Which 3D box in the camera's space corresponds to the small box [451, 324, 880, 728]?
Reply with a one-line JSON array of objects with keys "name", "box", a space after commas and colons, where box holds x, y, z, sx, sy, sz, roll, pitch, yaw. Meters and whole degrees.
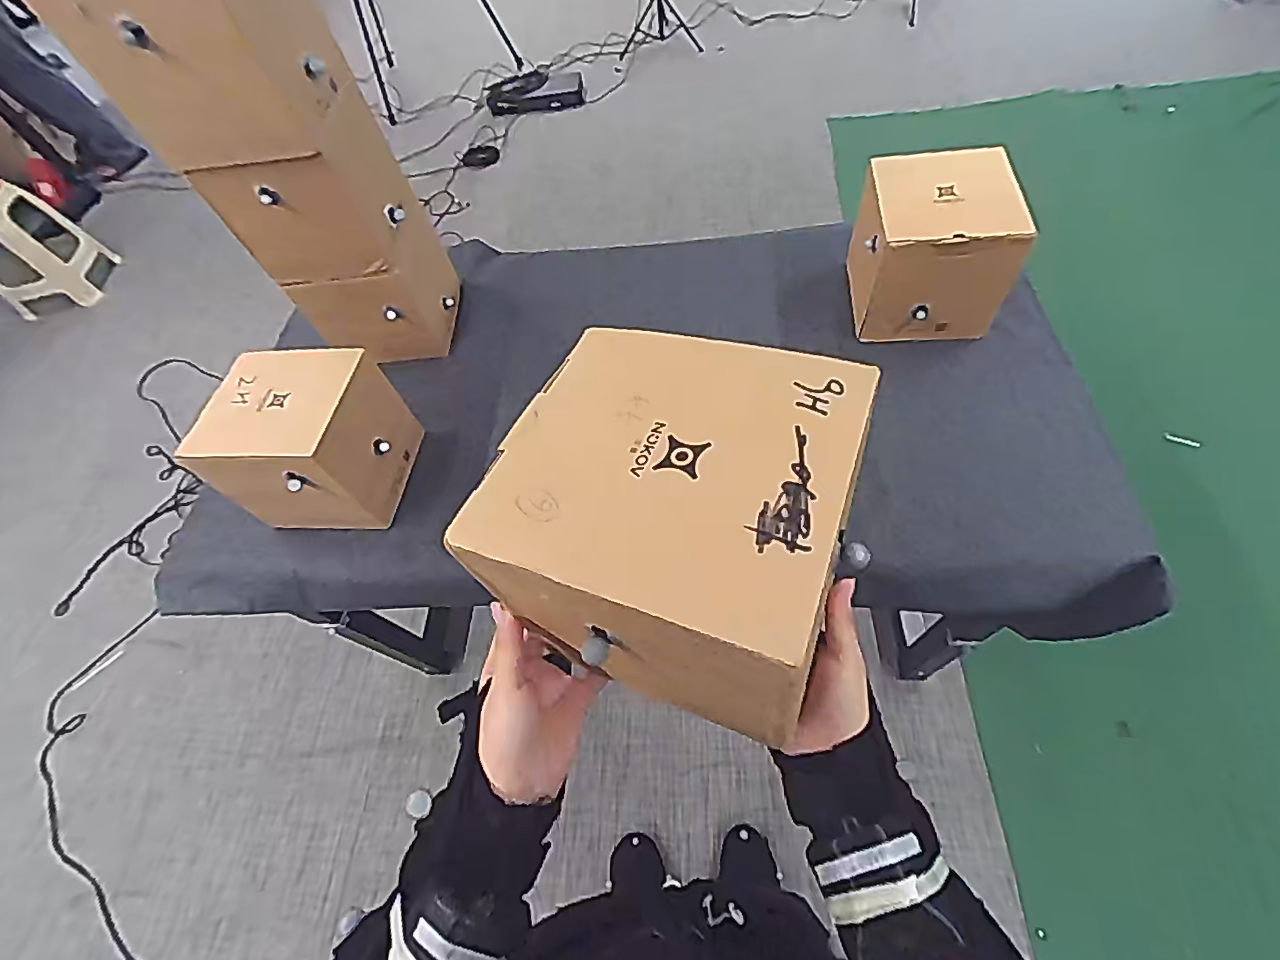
[{"name": "small box", "box": [0.029, 0.030, 0.334, 0.179, 0.176, 0.168, 14, 59, 22]}]

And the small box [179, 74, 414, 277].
[{"name": "small box", "box": [-0.430, -0.389, 0.710, 0.179, 0.176, 0.168, -5, 62, 4]}]

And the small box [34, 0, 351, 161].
[{"name": "small box", "box": [-0.446, -0.461, 0.563, 0.179, 0.176, 0.168, -3, 62, 5]}]

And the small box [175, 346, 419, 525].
[{"name": "small box", "box": [-0.417, -0.052, 0.696, 0.179, 0.176, 0.168, 0, 57, 8]}]

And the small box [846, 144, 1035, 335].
[{"name": "small box", "box": [0.389, -0.321, 0.738, 0.168, 0.176, 0.179, 0, 62, 9]}]
